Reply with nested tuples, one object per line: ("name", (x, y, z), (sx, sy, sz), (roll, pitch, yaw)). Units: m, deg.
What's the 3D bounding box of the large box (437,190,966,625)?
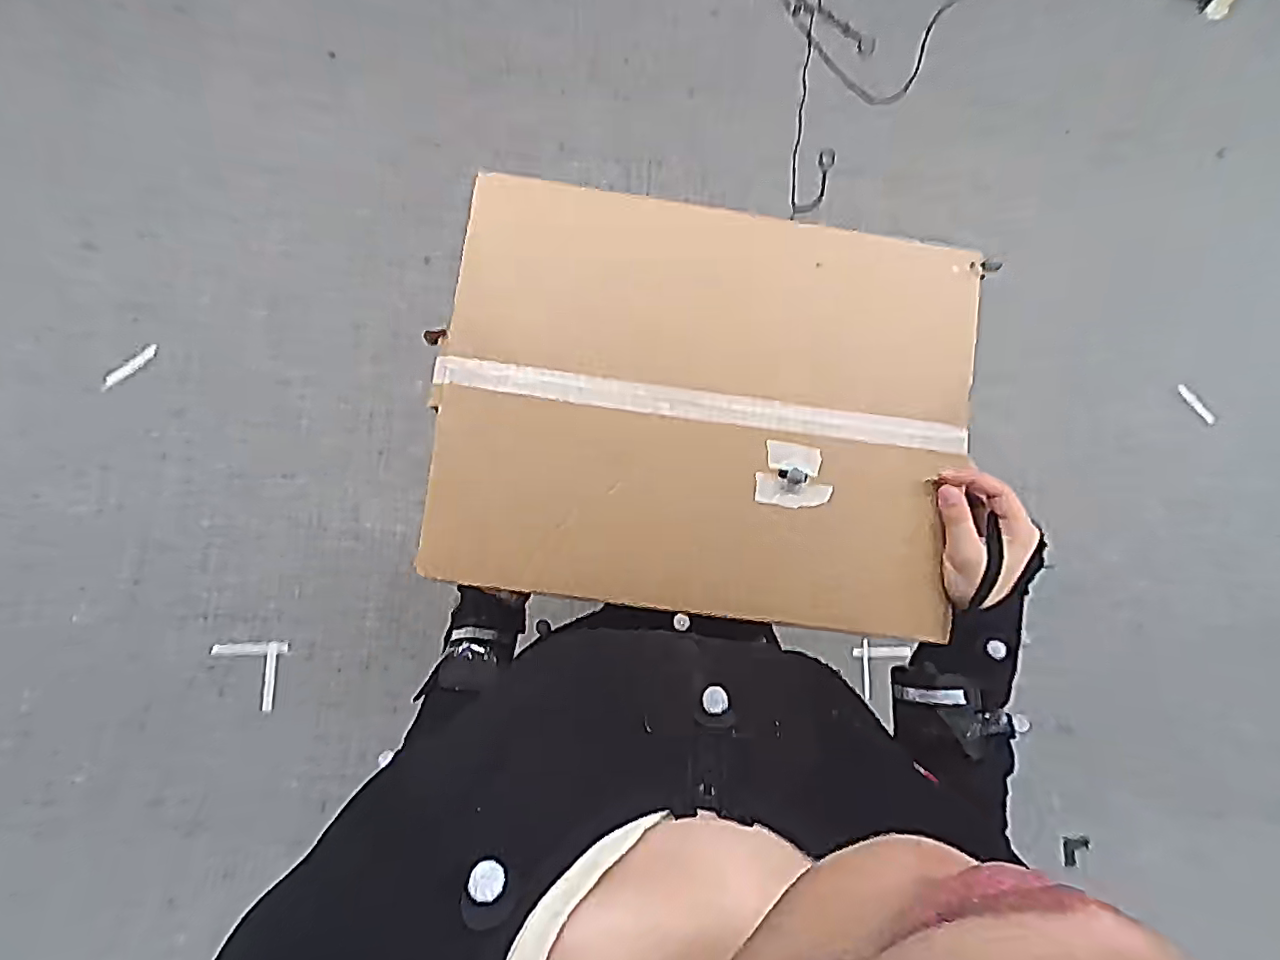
("large box", (0.047, -0.046, 0.572), (0.408, 0.320, 0.320), (7, 86, -4))
